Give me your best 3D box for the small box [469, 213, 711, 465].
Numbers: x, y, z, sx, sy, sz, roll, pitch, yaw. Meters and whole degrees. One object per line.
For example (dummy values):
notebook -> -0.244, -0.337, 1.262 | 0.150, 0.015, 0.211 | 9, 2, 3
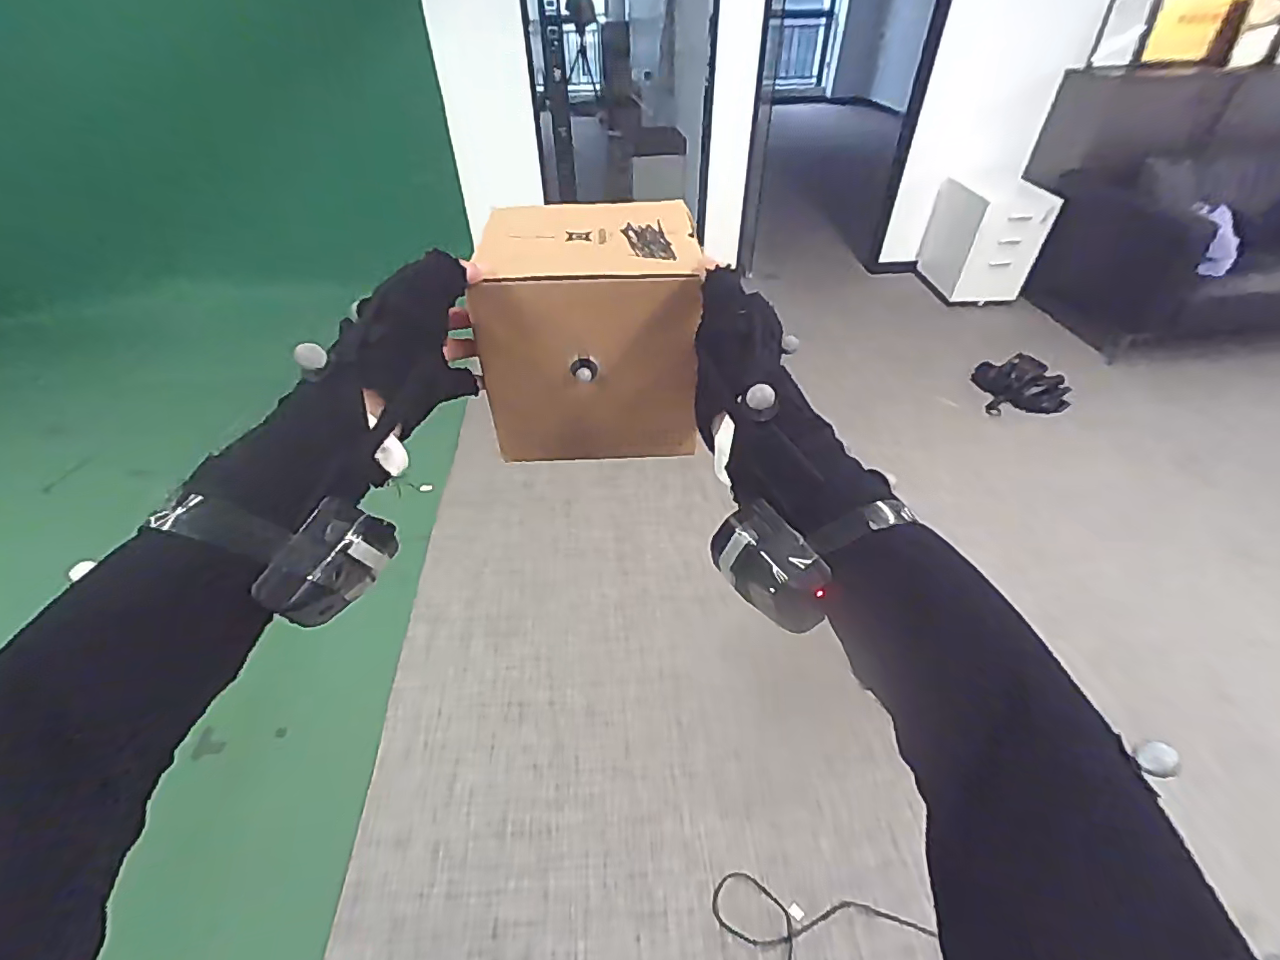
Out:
small box -> -0.038, -0.129, 0.497 | 0.179, 0.176, 0.168 | -3, 42, -2
